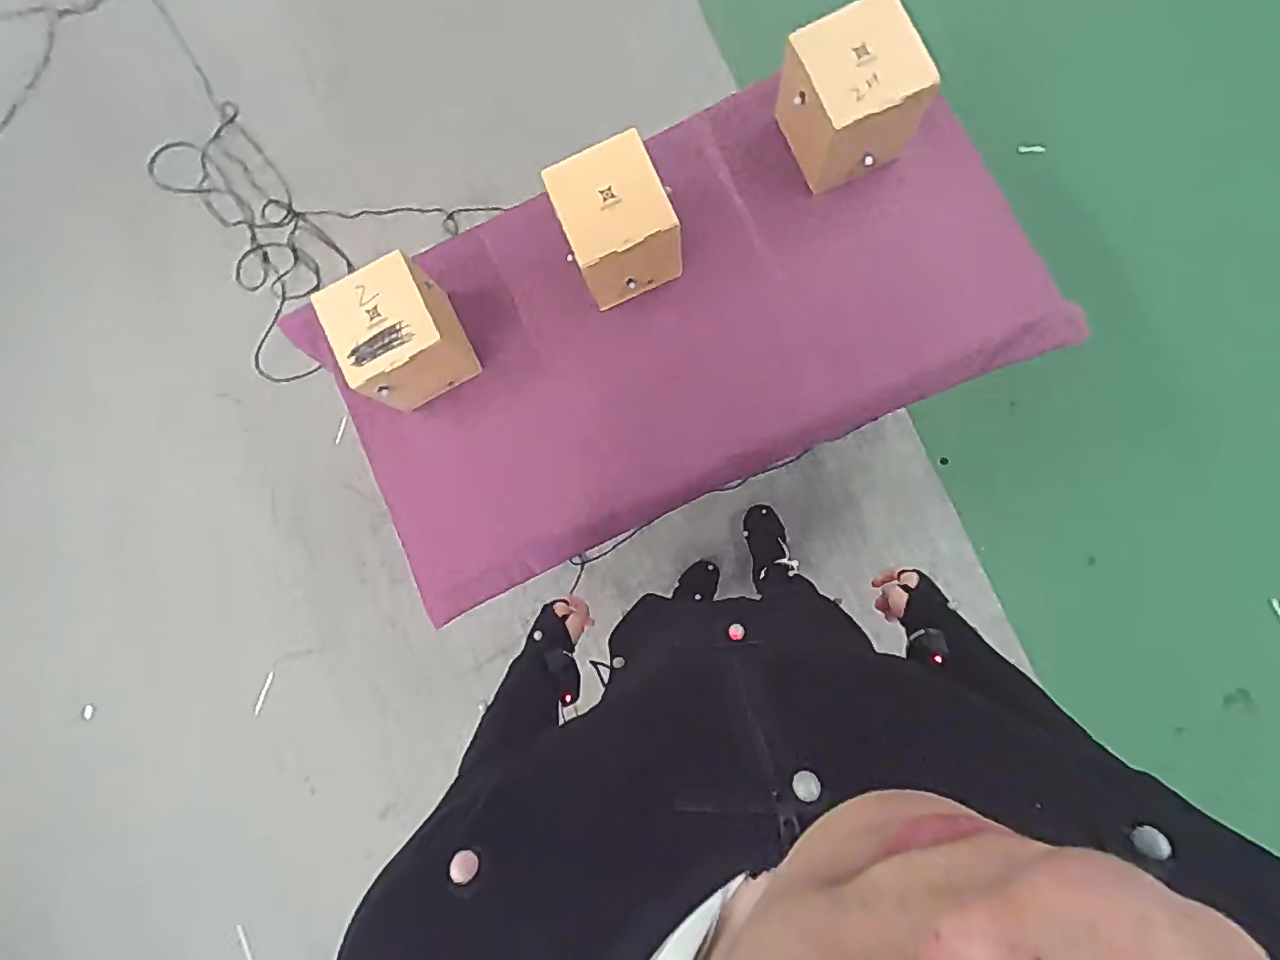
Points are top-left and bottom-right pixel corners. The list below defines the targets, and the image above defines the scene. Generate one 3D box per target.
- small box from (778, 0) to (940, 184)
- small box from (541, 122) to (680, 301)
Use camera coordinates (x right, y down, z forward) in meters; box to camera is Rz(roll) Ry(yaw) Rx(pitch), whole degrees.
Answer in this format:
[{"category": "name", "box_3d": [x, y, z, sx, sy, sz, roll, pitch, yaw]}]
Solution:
[{"category": "small box", "box_3d": [0.338, -0.630, 0.876, 0.168, 0.176, 0.179, -23, 84, 6]}, {"category": "small box", "box_3d": [-0.042, -0.433, 0.901, 0.168, 0.176, 0.179, -24, 85, 3]}]
